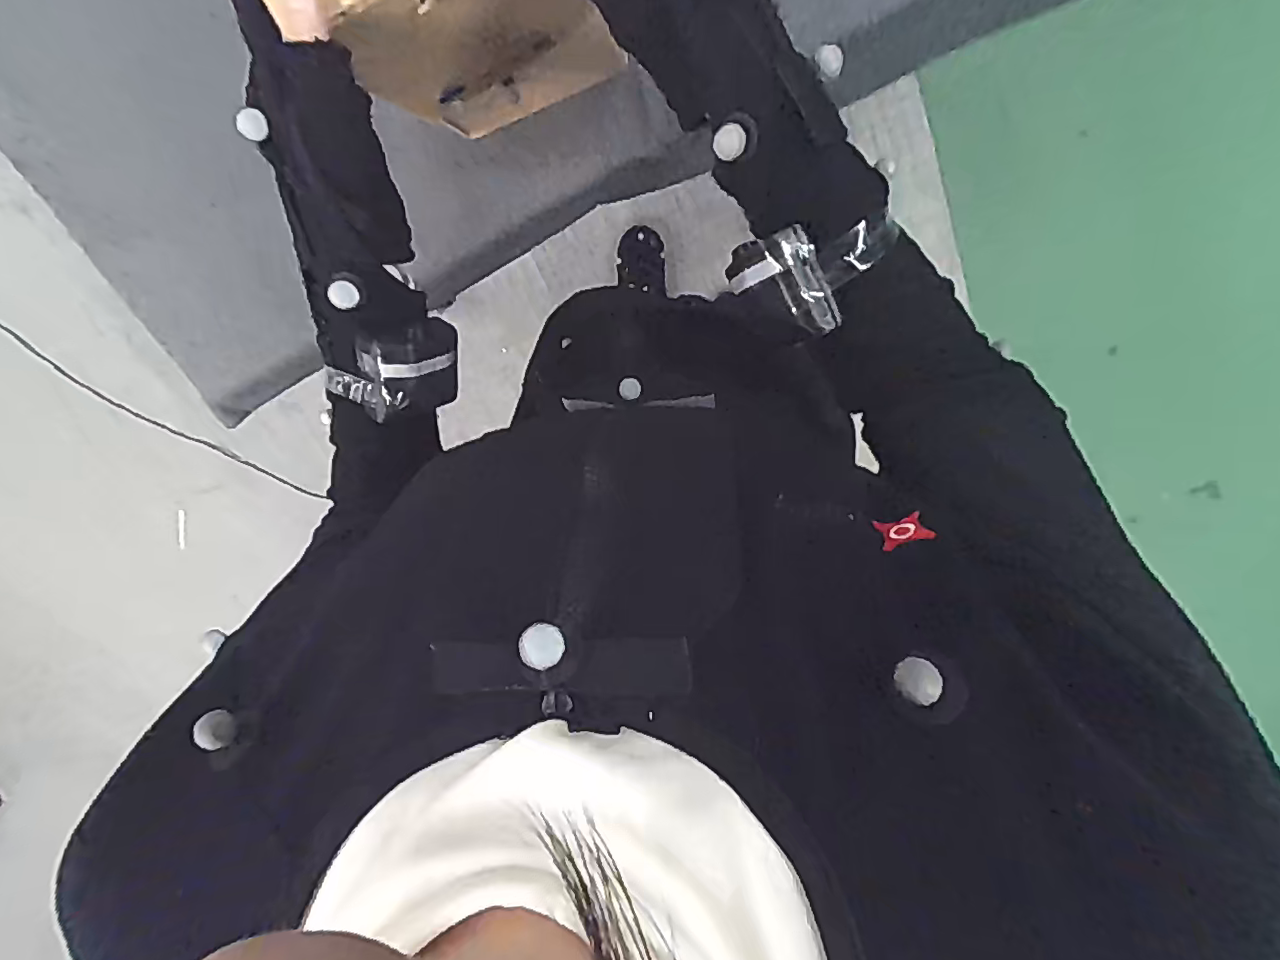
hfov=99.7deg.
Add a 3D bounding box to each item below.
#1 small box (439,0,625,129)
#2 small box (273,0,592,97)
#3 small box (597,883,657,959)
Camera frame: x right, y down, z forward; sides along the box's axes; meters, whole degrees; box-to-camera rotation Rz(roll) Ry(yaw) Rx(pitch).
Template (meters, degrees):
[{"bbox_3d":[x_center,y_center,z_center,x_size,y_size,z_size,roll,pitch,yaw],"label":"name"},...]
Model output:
[{"bbox_3d":[-0.125,-0.425,0.444,0.179,0.176,0.168,-21,109,11],"label":"small box"},{"bbox_3d":[-0.130,-0.348,0.295,0.168,0.176,0.179,-26,110,14],"label":"small box"},{"bbox_3d":[-0.040,1.423,1.706,0.168,0.176,0.179,8,111,-1],"label":"small box"}]
